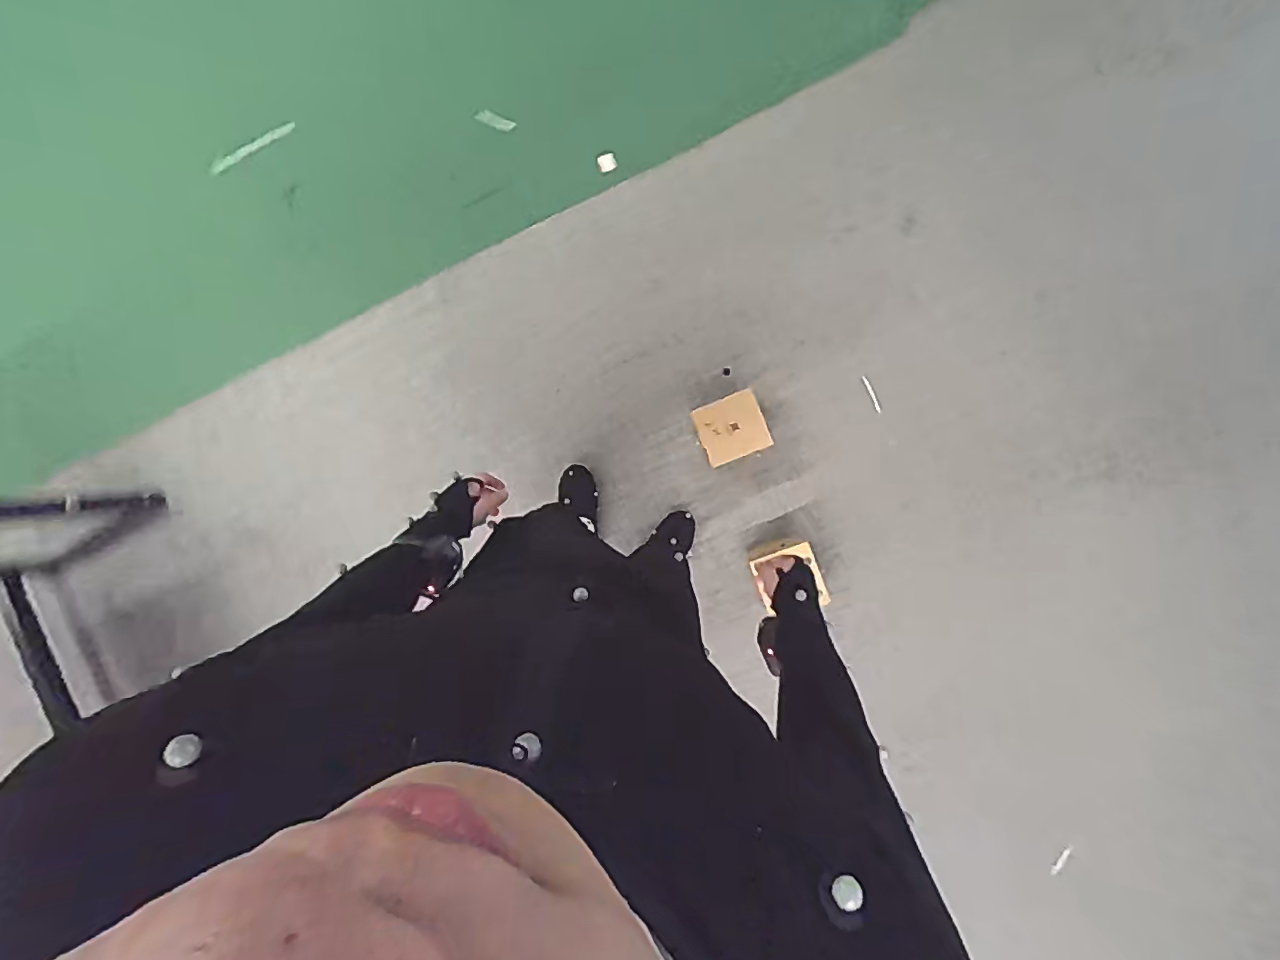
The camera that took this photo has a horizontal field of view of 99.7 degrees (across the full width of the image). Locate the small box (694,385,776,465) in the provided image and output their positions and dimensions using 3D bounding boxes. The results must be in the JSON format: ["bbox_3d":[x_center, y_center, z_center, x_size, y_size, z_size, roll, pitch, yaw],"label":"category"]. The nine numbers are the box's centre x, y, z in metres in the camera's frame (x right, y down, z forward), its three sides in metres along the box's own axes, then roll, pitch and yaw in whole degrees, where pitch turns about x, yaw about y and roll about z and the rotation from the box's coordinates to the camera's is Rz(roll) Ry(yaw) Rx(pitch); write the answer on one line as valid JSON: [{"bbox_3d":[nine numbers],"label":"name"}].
[{"bbox_3d":[0.257,-0.147,1.495,0.179,0.176,0.168,-21,89,7],"label":"small box"}]

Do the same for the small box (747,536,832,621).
[{"bbox_3d":[0.405,0.261,1.494,0.168,0.176,0.179,-21,90,7],"label":"small box"}]
